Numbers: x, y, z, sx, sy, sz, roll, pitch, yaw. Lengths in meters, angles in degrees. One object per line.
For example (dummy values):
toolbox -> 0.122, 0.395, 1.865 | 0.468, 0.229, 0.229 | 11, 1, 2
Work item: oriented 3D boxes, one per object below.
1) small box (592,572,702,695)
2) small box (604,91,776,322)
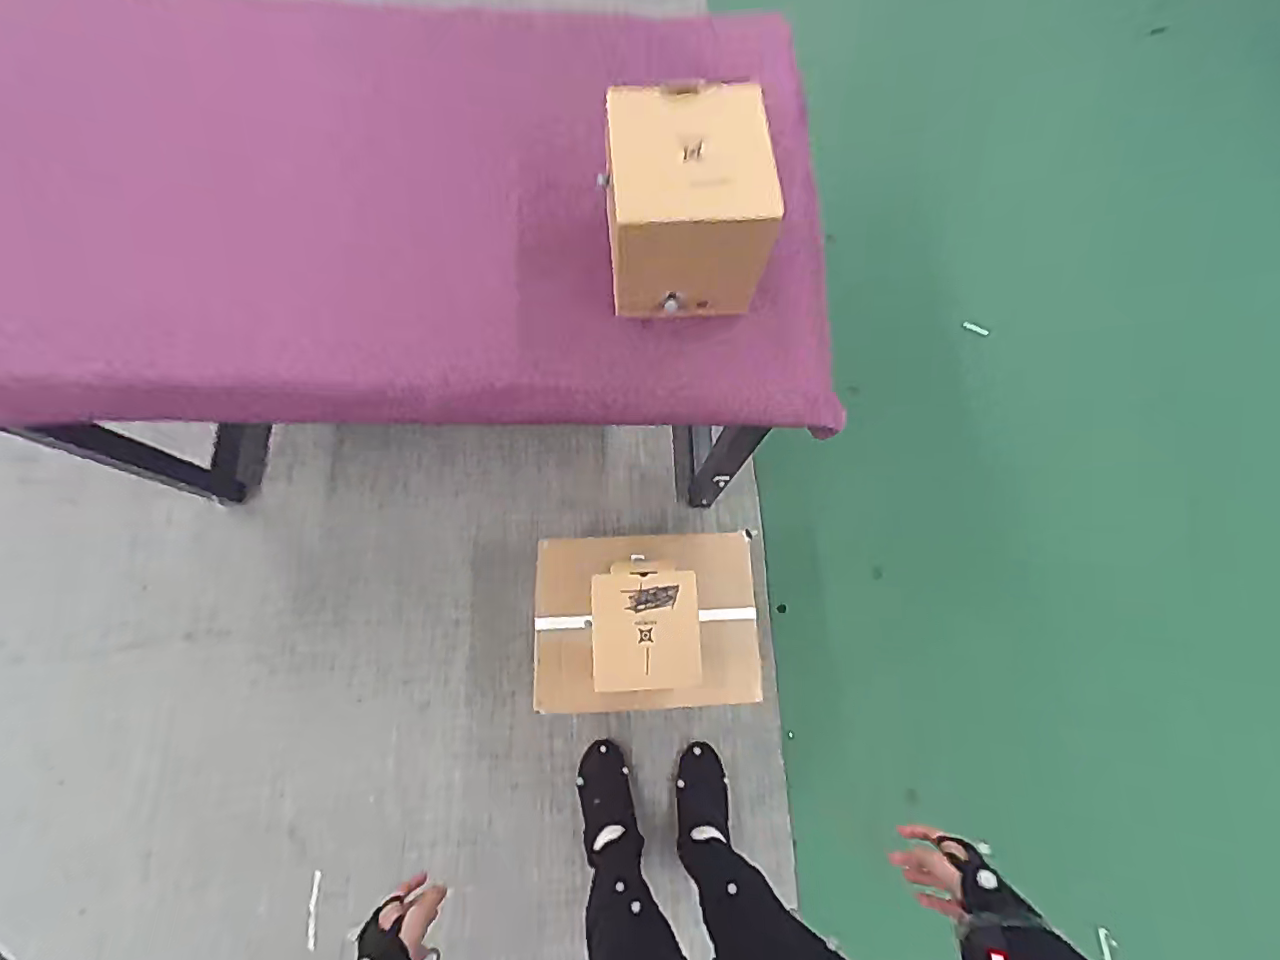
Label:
small box -> 0.004, 0.249, 0.893 | 0.168, 0.176, 0.179 | -2, 76, -3
small box -> 0.043, -0.305, 0.623 | 0.168, 0.176, 0.179 | -4, 73, -3
